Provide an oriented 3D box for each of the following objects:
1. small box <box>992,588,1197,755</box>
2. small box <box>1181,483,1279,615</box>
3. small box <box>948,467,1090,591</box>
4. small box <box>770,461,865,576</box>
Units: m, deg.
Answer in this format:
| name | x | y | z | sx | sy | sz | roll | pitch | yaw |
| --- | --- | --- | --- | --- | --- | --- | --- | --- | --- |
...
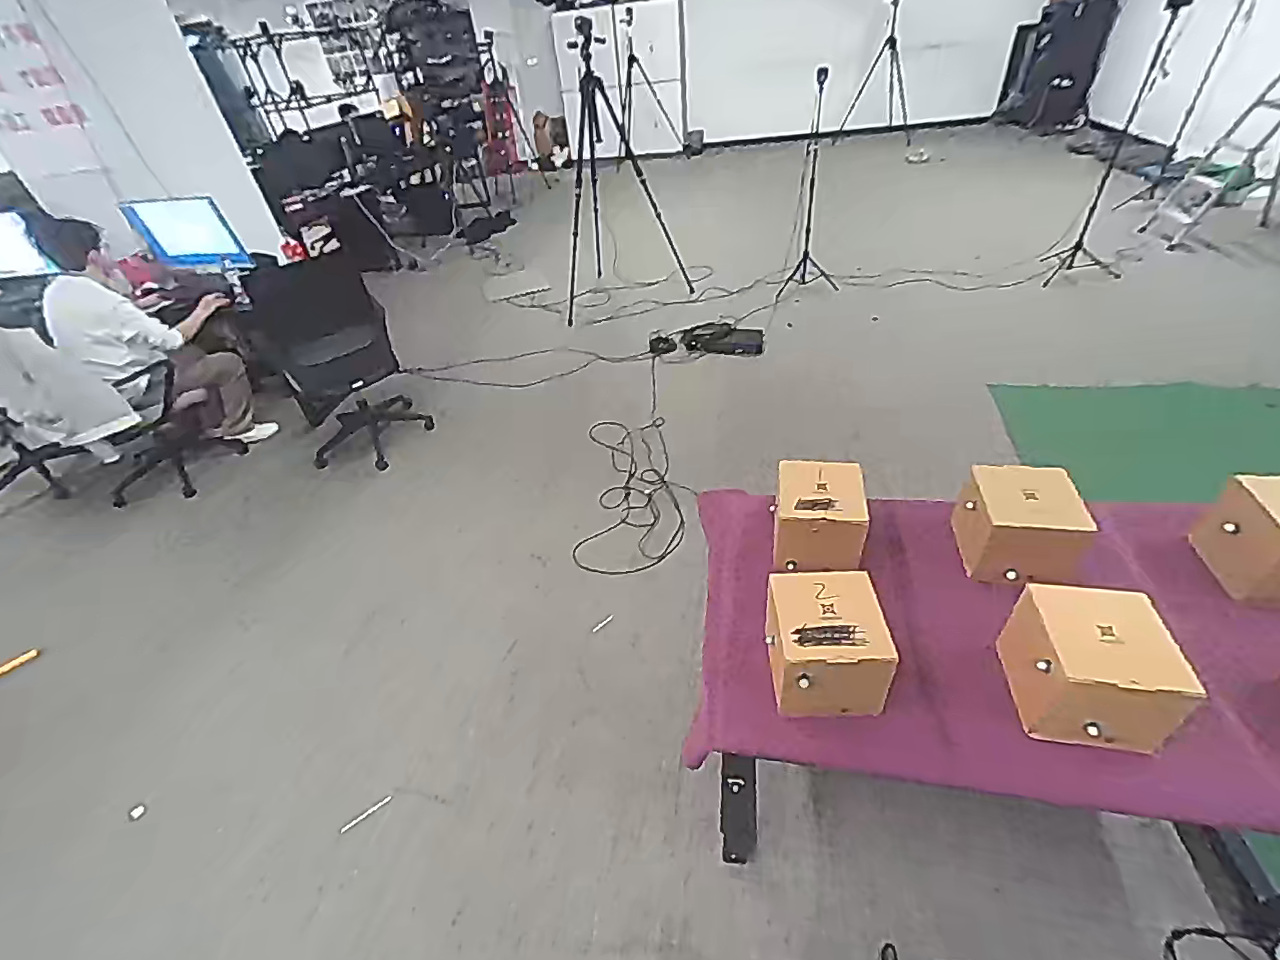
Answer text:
| name | x | y | z | sx | sy | sz | roll | pitch | yaw |
| --- | --- | --- | --- | --- | --- | --- | --- | --- | --- |
| small box | 0.691 | 0.300 | 0.854 | 0.168 | 0.176 | 0.179 | 4 | 41 | 11 |
| small box | 1.164 | 0.127 | 0.988 | 0.168 | 0.176 | 0.179 | 3 | 42 | 12 |
| small box | 0.739 | 0.097 | 1.080 | 0.168 | 0.176 | 0.179 | 4 | 43 | 13 |
| small box | 0.366 | 0.081 | 1.139 | 0.168 | 0.176 | 0.179 | 4 | 43 | 11 |
